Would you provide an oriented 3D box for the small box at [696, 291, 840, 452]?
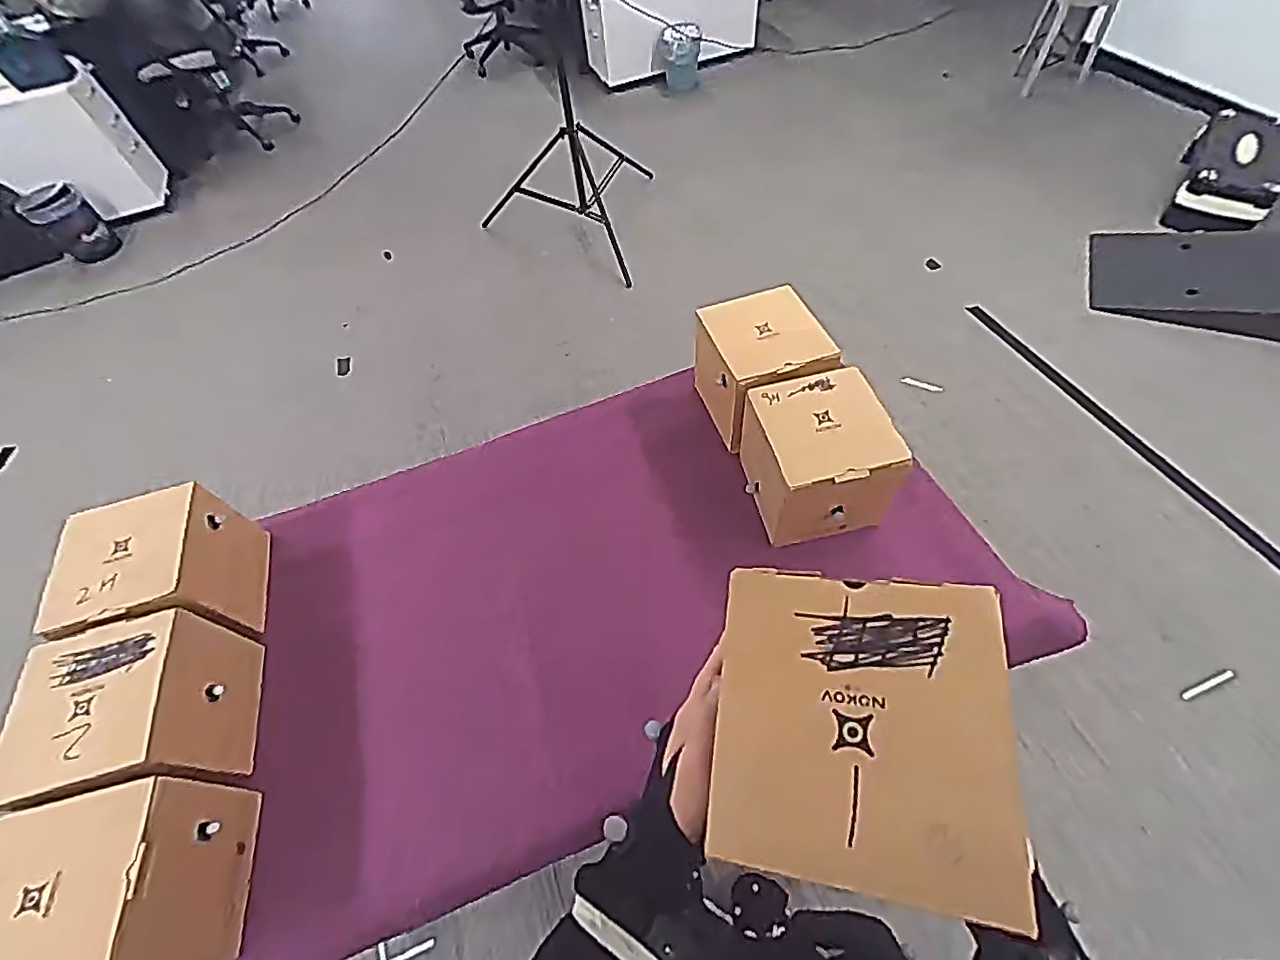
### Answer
[{"bbox_3d":[0.196,-0.175,0.891,0.168,0.176,0.179,-17,56,-6],"label":"small box"}]

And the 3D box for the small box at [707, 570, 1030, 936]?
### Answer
[{"bbox_3d":[0.152,0.181,0.394,0.168,0.176,0.179,1,63,19],"label":"small box"}]

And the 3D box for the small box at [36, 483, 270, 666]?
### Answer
[{"bbox_3d":[-0.658,0.136,0.761,0.168,0.176,0.179,-17,57,-6],"label":"small box"}]
